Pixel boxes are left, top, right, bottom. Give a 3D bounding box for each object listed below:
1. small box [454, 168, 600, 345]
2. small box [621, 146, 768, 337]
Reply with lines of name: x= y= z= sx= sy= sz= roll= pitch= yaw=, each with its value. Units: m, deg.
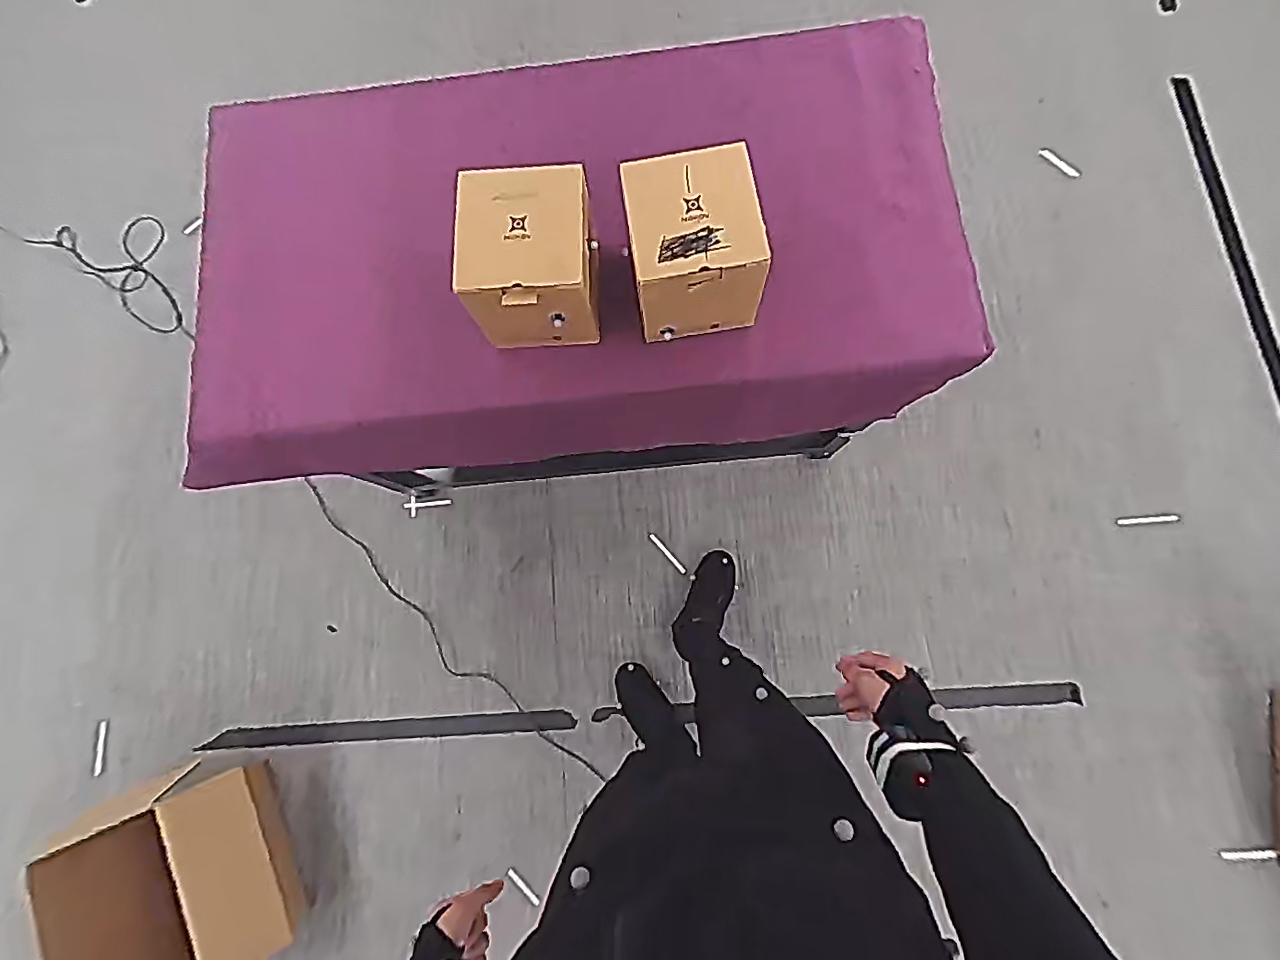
small box: x=-0.148 y=-0.301 z=0.764 sx=0.168 sy=0.176 sz=0.179 roll=-1 pitch=79 yaw=2
small box: x=0.072 y=-0.315 z=0.753 sx=0.168 sy=0.176 sz=0.179 roll=-9 pitch=77 yaw=2
